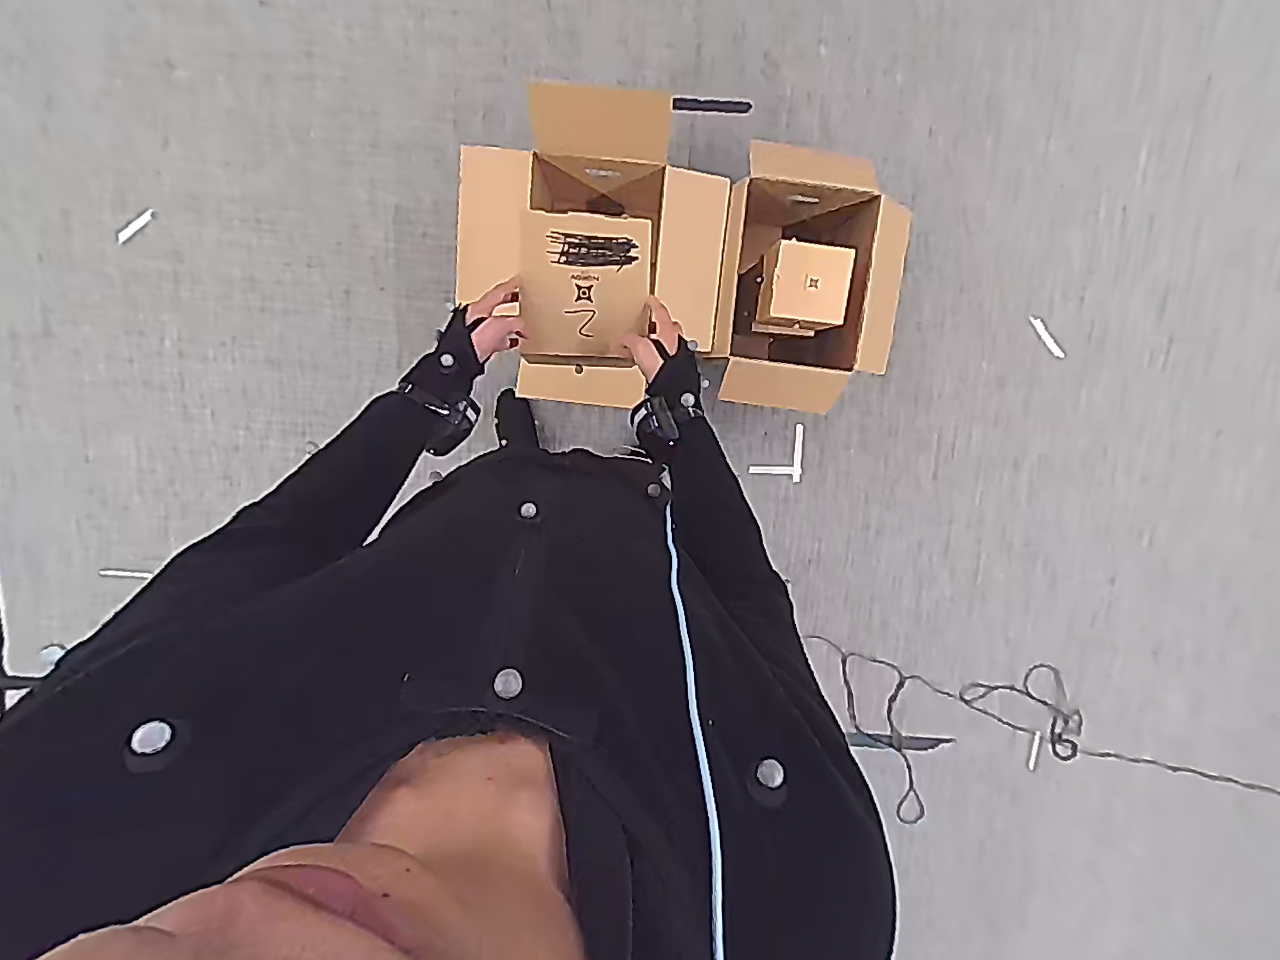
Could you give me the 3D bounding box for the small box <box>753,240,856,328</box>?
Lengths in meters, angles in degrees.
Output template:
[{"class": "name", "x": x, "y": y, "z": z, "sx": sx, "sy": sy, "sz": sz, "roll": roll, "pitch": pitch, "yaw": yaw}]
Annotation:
[{"class": "small box", "x": 0.384, "y": -0.458, "z": 1.291, "sx": 0.179, "sy": 0.176, "sz": 0.168, "roll": 6, "pitch": 101, "yaw": -2}]
